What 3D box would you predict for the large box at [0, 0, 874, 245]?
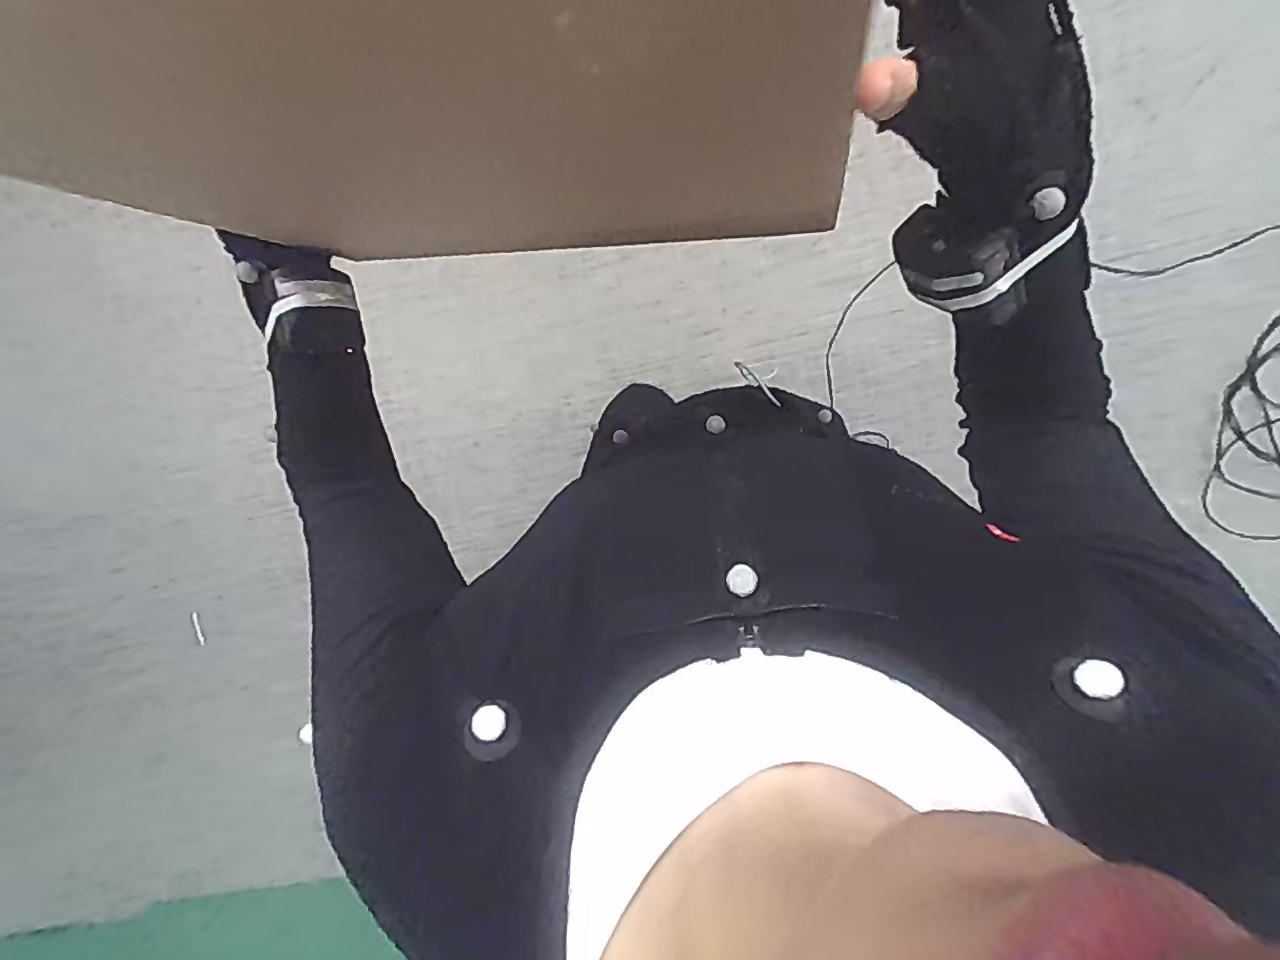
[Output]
[{"bbox_3d":[-0.101,-0.317,0.251,0.408,0.320,0.320,4,102,16],"label":"large box"}]
